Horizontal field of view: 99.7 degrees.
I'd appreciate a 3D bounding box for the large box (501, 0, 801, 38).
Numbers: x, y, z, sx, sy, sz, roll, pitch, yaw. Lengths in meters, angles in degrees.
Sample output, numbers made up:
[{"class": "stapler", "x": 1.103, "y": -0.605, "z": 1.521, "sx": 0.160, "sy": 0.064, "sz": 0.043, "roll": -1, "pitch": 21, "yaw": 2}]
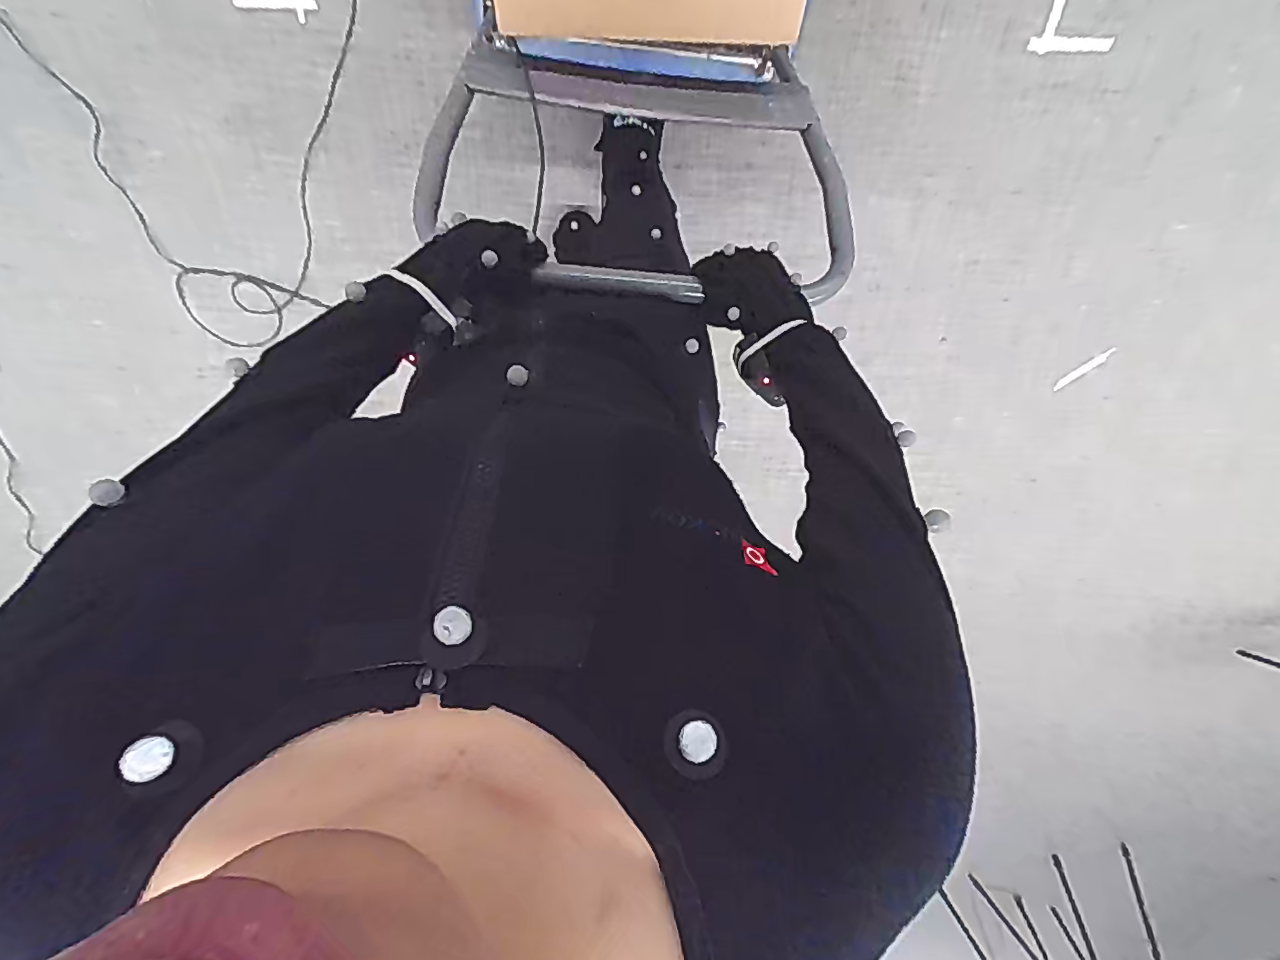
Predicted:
[{"class": "large box", "x": 0.012, "y": -0.820, "z": 0.712, "sx": 0.408, "sy": 0.320, "sz": 0.320, "roll": 0, "pitch": 143, "yaw": -2}]
